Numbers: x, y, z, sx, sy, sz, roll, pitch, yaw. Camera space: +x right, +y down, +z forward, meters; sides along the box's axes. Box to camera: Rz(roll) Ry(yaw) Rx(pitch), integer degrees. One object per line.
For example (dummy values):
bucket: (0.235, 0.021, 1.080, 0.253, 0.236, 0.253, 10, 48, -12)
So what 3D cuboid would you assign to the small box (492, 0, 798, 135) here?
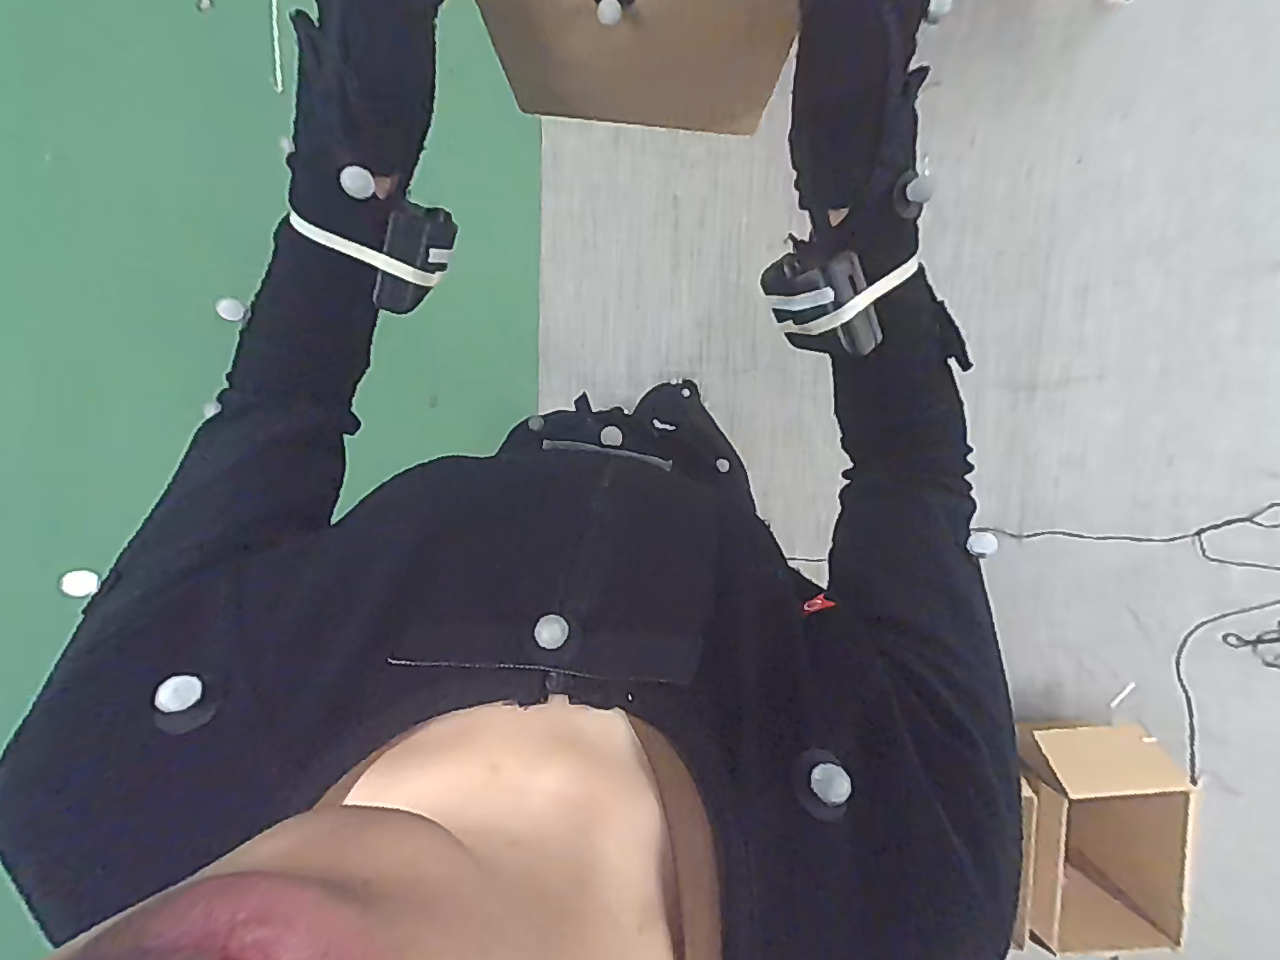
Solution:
small box: (0.006, -0.330, 0.311, 0.179, 0.176, 0.168, 5, 97, -1)
